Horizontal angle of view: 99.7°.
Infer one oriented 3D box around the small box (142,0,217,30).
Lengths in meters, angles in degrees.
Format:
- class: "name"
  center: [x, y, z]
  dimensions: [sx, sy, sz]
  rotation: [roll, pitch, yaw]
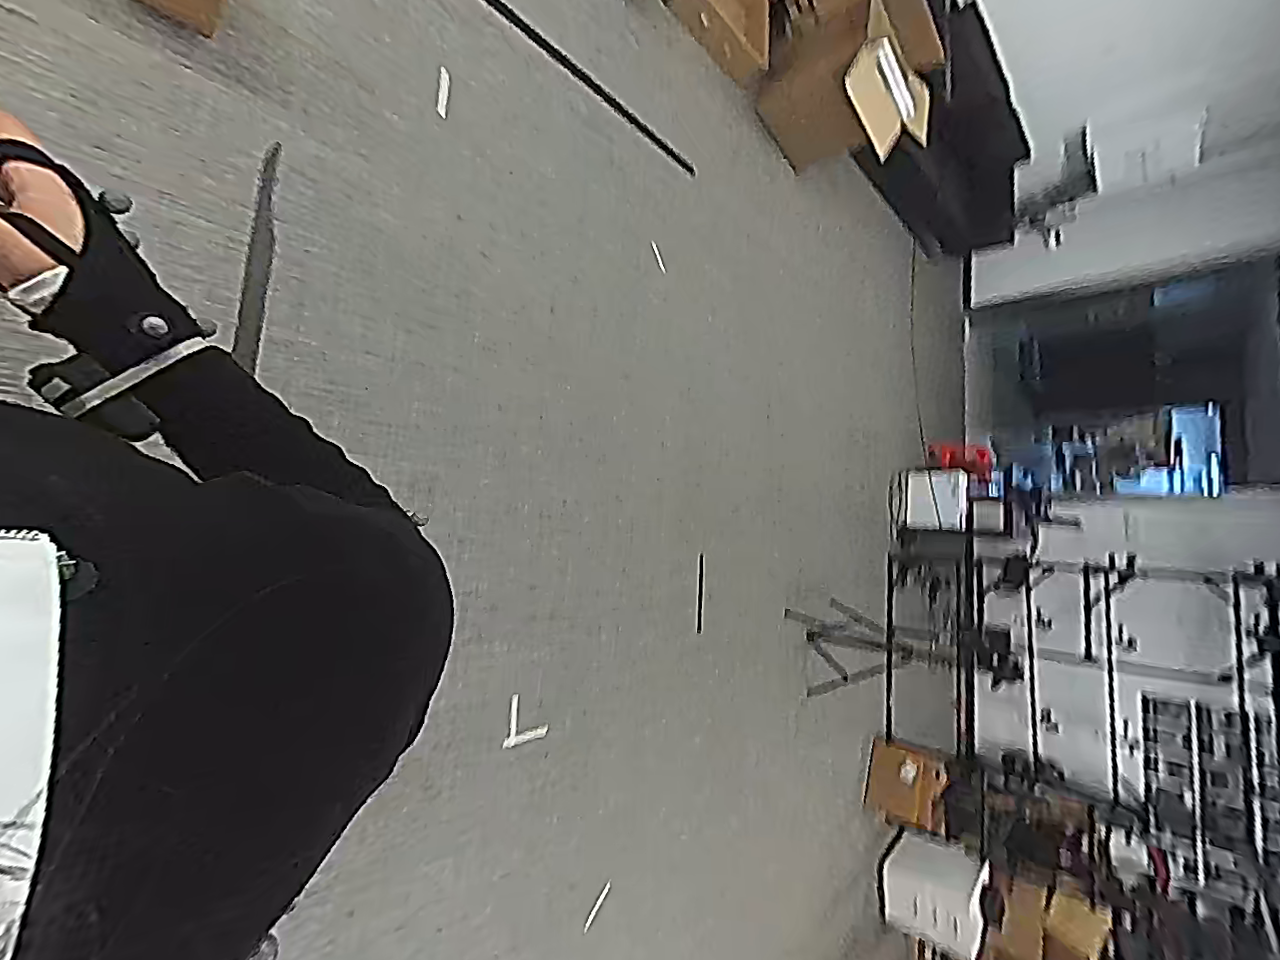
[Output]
- class: "small box"
  center: [-0.991, -1.106, 1.127]
  dimensions: [0.179, 0.176, 0.168]
  rotation: [4, 85, -47]
